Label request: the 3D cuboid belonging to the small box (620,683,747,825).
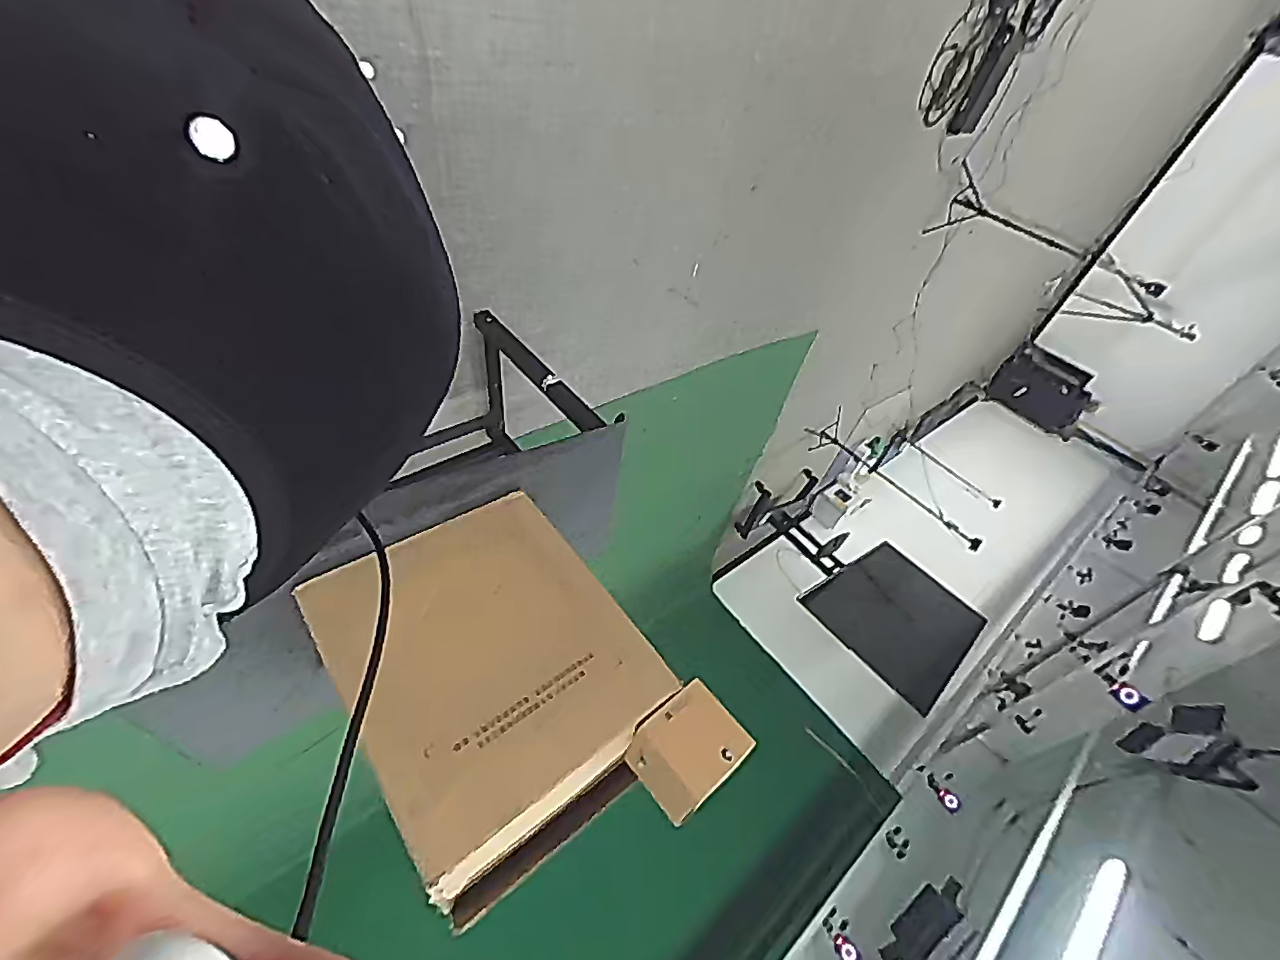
[{"bbox_3d":[0.079,0.546,1.091,0.168,0.176,0.179,-28,149,-36],"label":"small box"}]
